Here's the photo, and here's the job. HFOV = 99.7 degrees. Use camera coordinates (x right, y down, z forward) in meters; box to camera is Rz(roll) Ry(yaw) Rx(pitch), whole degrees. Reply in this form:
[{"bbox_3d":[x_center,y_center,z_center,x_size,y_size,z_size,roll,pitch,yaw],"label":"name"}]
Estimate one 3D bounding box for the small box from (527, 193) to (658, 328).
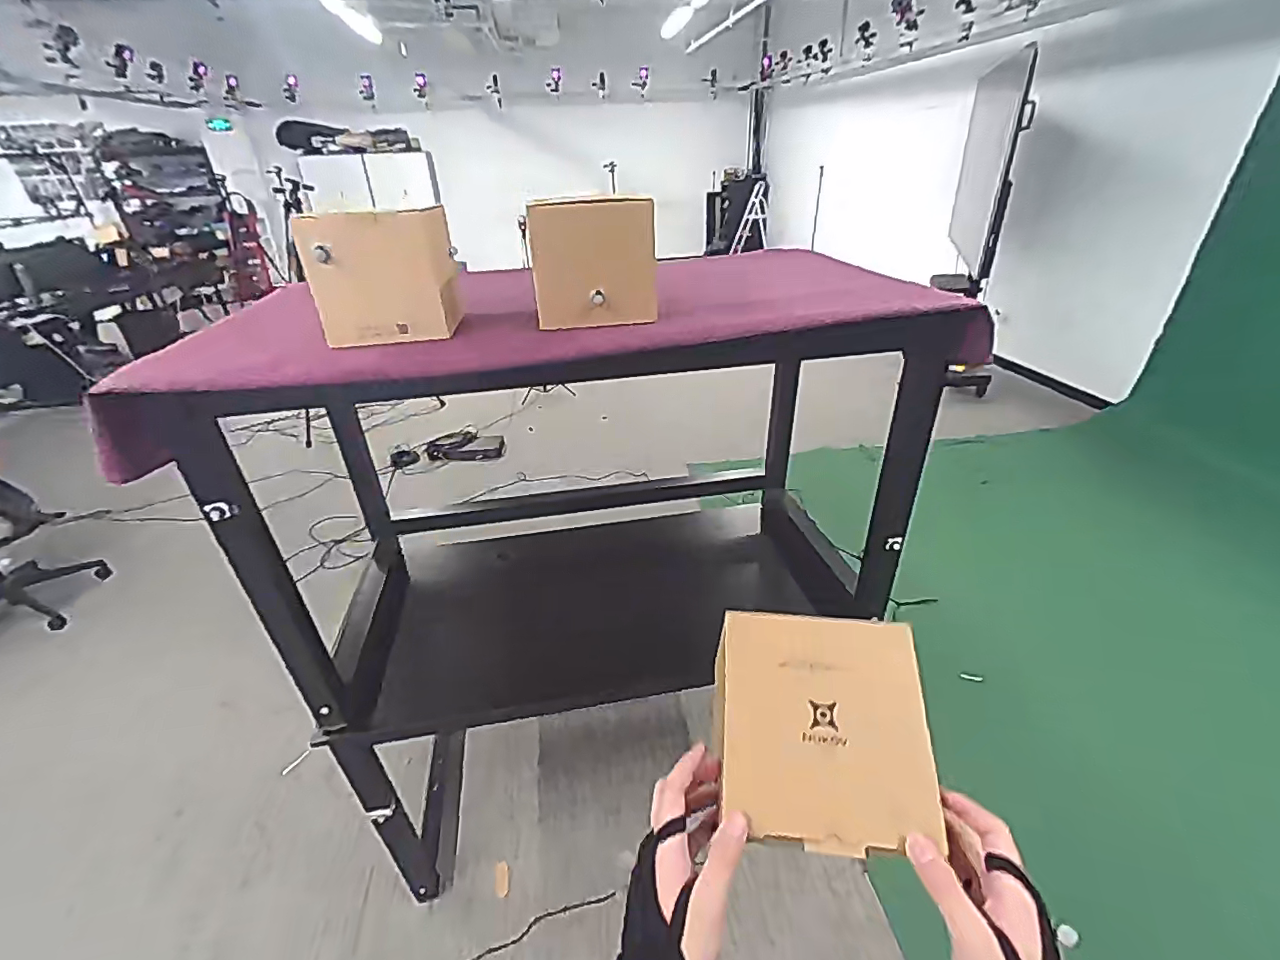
[{"bbox_3d":[-0.072,-0.336,0.822,0.179,0.176,0.168,-6,29,-7],"label":"small box"}]
